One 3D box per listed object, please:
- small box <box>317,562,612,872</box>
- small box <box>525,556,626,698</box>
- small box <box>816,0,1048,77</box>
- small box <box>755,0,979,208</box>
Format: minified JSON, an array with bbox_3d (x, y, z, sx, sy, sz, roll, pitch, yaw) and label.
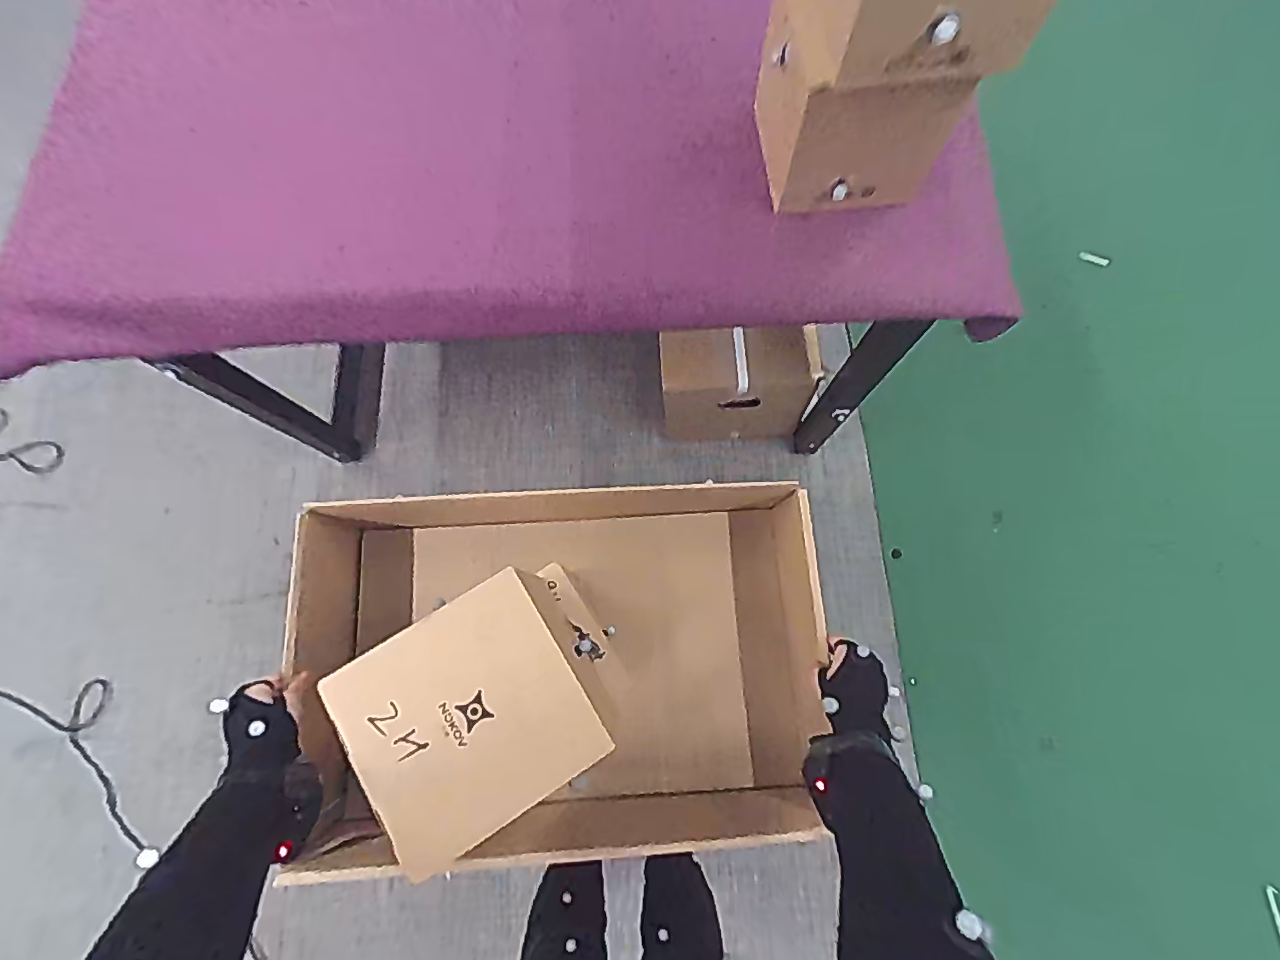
[{"bbox_3d":[-0.139,0.192,0.494,0.179,0.176,0.168,-31,79,-8],"label":"small box"},{"bbox_3d":[-0.129,0.213,0.659,0.179,0.176,0.168,-32,81,-9],"label":"small box"},{"bbox_3d":[0.238,-0.465,0.423,0.168,0.176,0.179,-5,74,2],"label":"small box"},{"bbox_3d":[0.227,-0.431,0.585,0.168,0.176,0.179,-5,74,2],"label":"small box"}]
